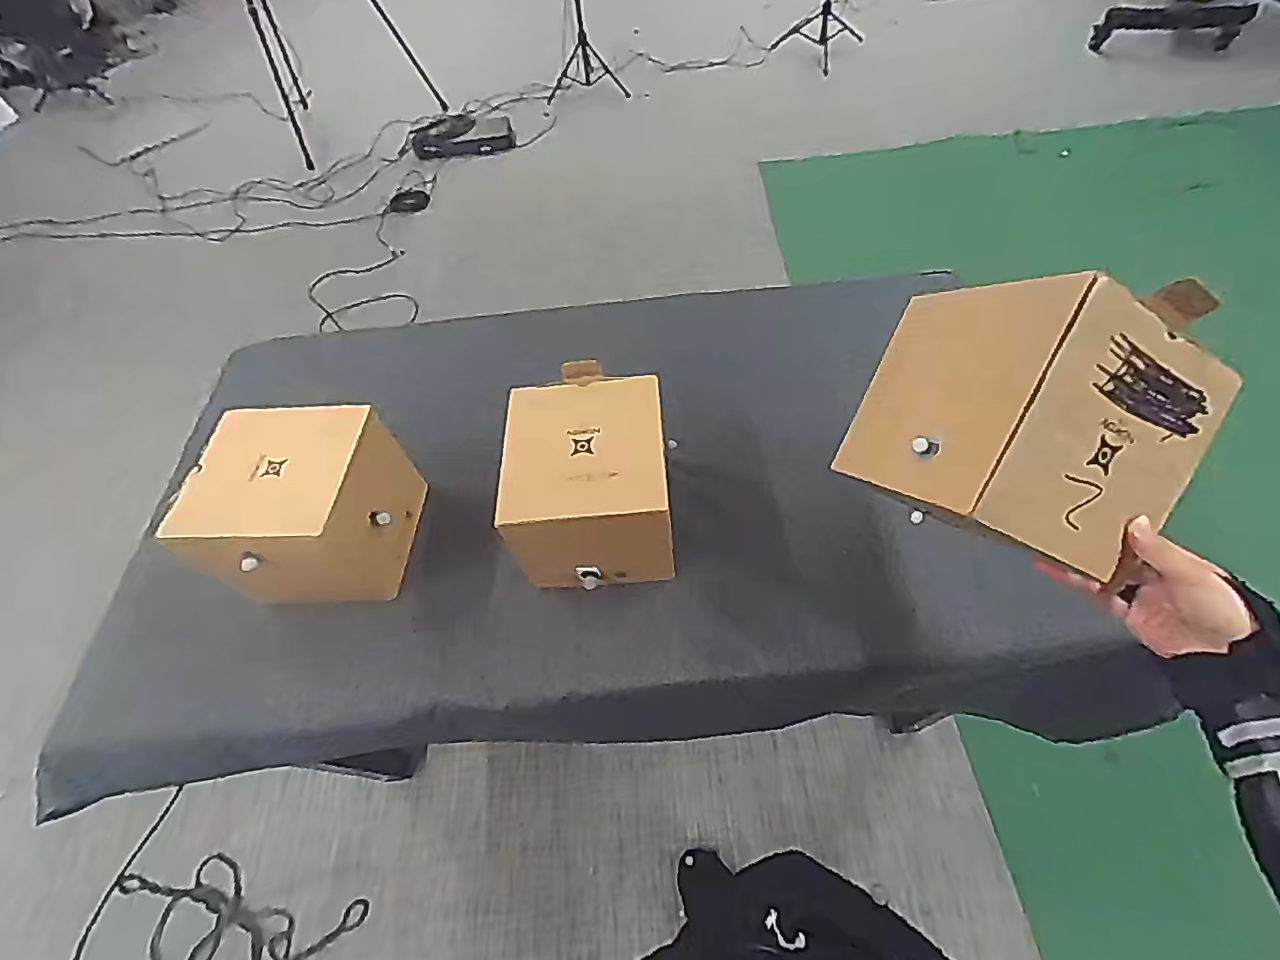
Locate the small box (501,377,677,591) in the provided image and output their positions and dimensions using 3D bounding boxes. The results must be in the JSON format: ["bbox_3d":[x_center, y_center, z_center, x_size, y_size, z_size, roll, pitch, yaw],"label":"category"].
[{"bbox_3d":[-0.046,0.009,0.613,0.168,0.176,0.179,-5,56,2],"label":"small box"}]

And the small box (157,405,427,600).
[{"bbox_3d":[-0.373,0.031,0.624,0.179,0.176,0.168,-1,56,4],"label":"small box"}]
